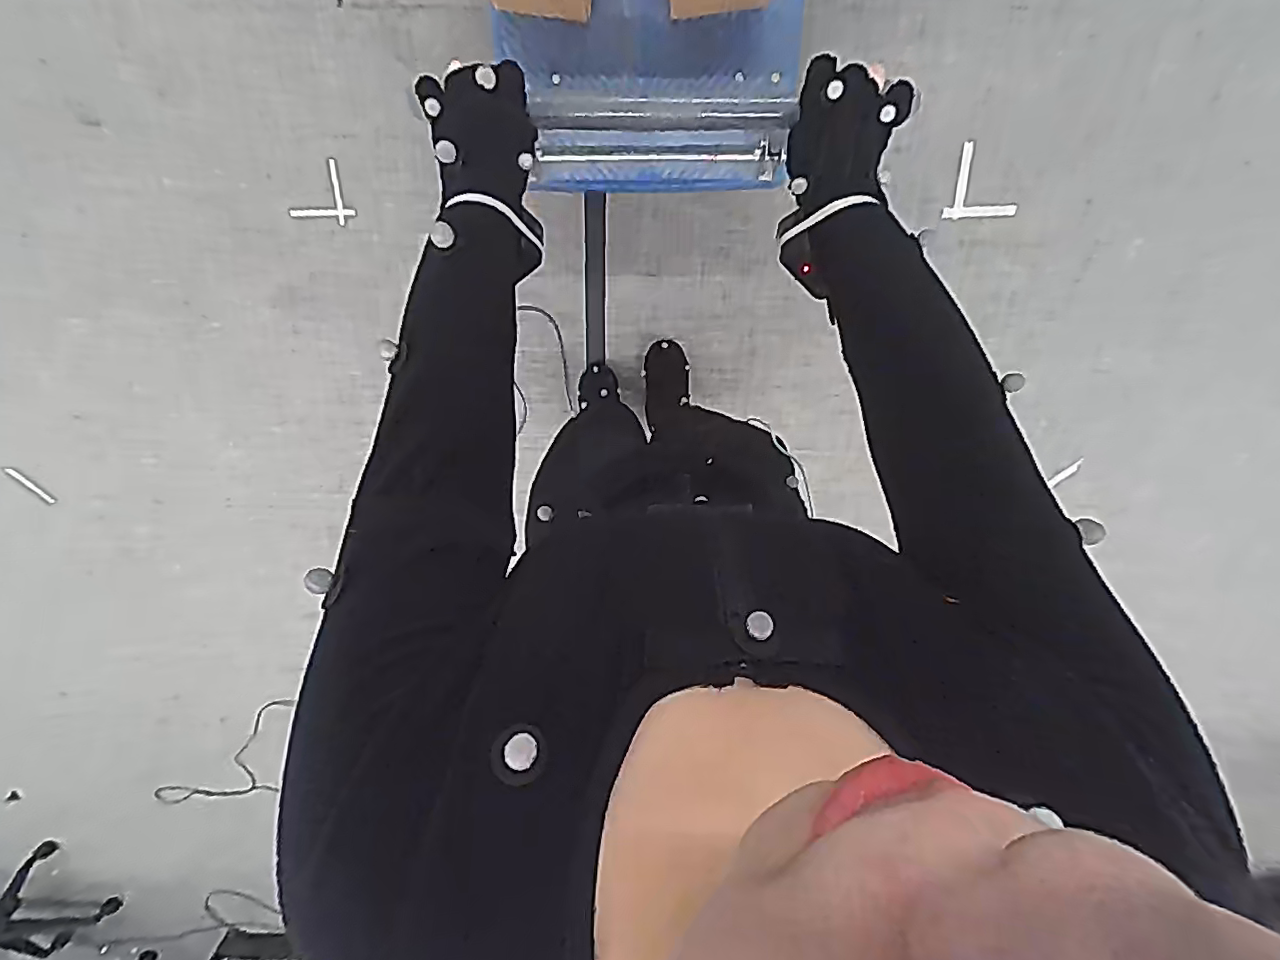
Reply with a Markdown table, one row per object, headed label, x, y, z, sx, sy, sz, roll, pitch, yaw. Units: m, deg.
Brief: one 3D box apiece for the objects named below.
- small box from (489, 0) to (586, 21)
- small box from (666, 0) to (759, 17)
| label | x | y | z | sx | sy | sz | roll | pitch | yaw |
| --- | --- | --- | --- | --- | --- | --- | --- | --- | --- |
| small box | -0.178 | -0.893 | 0.886 | 0.179 | 0.176 | 0.168 | 4 | 112 | -4 |
| small box | 0.126 | -0.897 | 0.885 | 0.179 | 0.176 | 0.168 | -6 | 113 | 2 |
